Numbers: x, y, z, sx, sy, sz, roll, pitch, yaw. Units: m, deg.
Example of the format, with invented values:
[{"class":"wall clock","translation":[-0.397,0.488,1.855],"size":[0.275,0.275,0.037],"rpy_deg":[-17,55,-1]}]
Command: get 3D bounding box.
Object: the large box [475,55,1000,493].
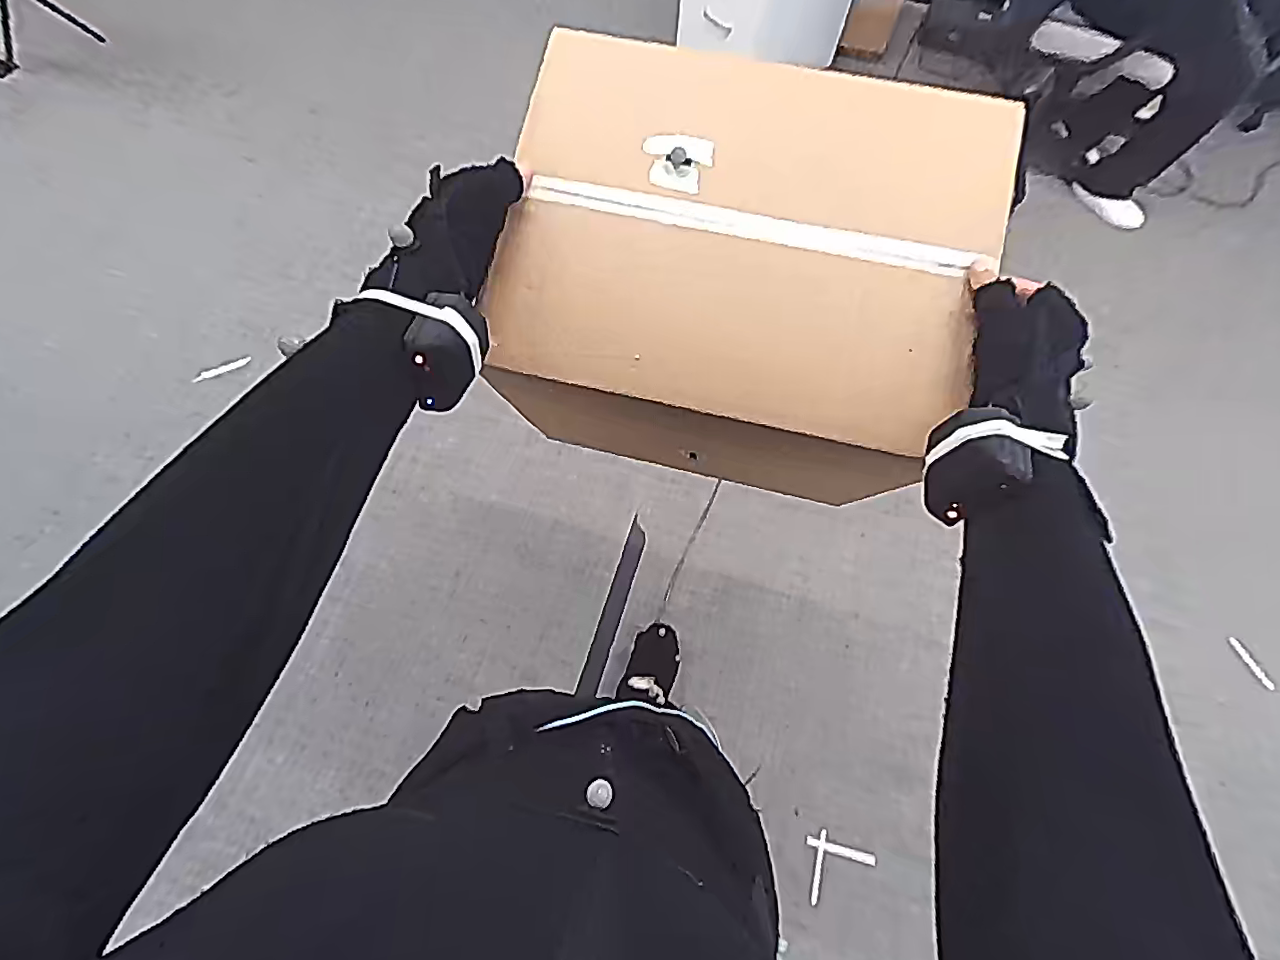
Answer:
[{"class":"large box","translation":[0.095,-0.186,0.610],"size":[0.408,0.320,0.320],"rpy_deg":[13,82,6]}]
